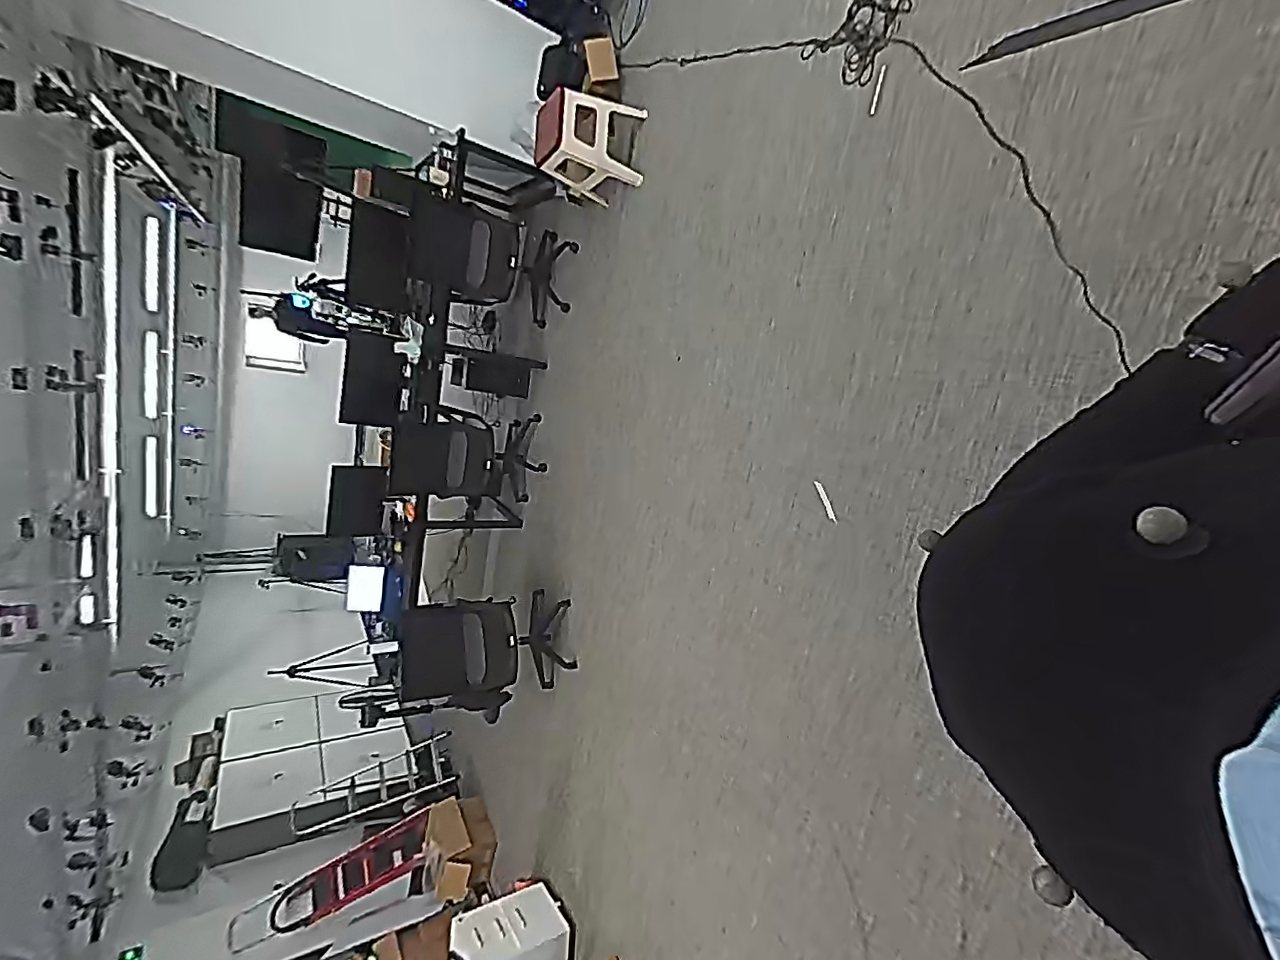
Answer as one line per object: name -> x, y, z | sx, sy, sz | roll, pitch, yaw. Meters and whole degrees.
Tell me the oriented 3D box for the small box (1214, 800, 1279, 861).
small box -> 1.102, 0.701, 0.939 | 0.168, 0.176, 0.179 | 24, 108, 54
